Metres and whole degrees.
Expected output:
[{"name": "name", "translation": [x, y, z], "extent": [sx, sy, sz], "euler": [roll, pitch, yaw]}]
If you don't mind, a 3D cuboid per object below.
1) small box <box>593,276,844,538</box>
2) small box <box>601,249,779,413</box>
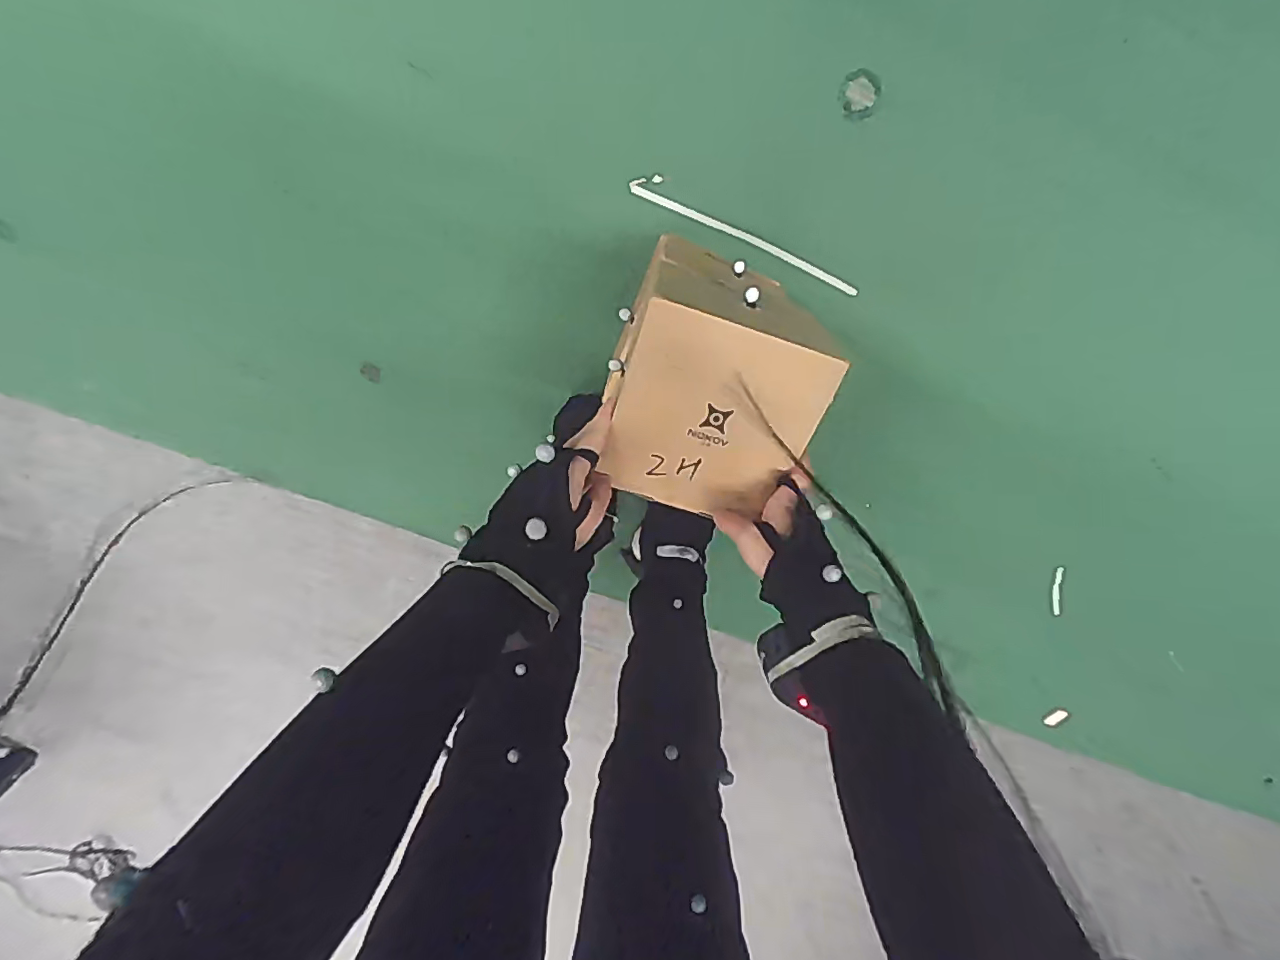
[{"name": "small box", "translation": [0.063, -0.079, 0.527], "extent": [0.168, 0.176, 0.179], "euler": [18, 120, -6]}, {"name": "small box", "translation": [0.066, -0.161, 0.672], "extent": [0.168, 0.176, 0.179], "euler": [21, 120, -9]}]
